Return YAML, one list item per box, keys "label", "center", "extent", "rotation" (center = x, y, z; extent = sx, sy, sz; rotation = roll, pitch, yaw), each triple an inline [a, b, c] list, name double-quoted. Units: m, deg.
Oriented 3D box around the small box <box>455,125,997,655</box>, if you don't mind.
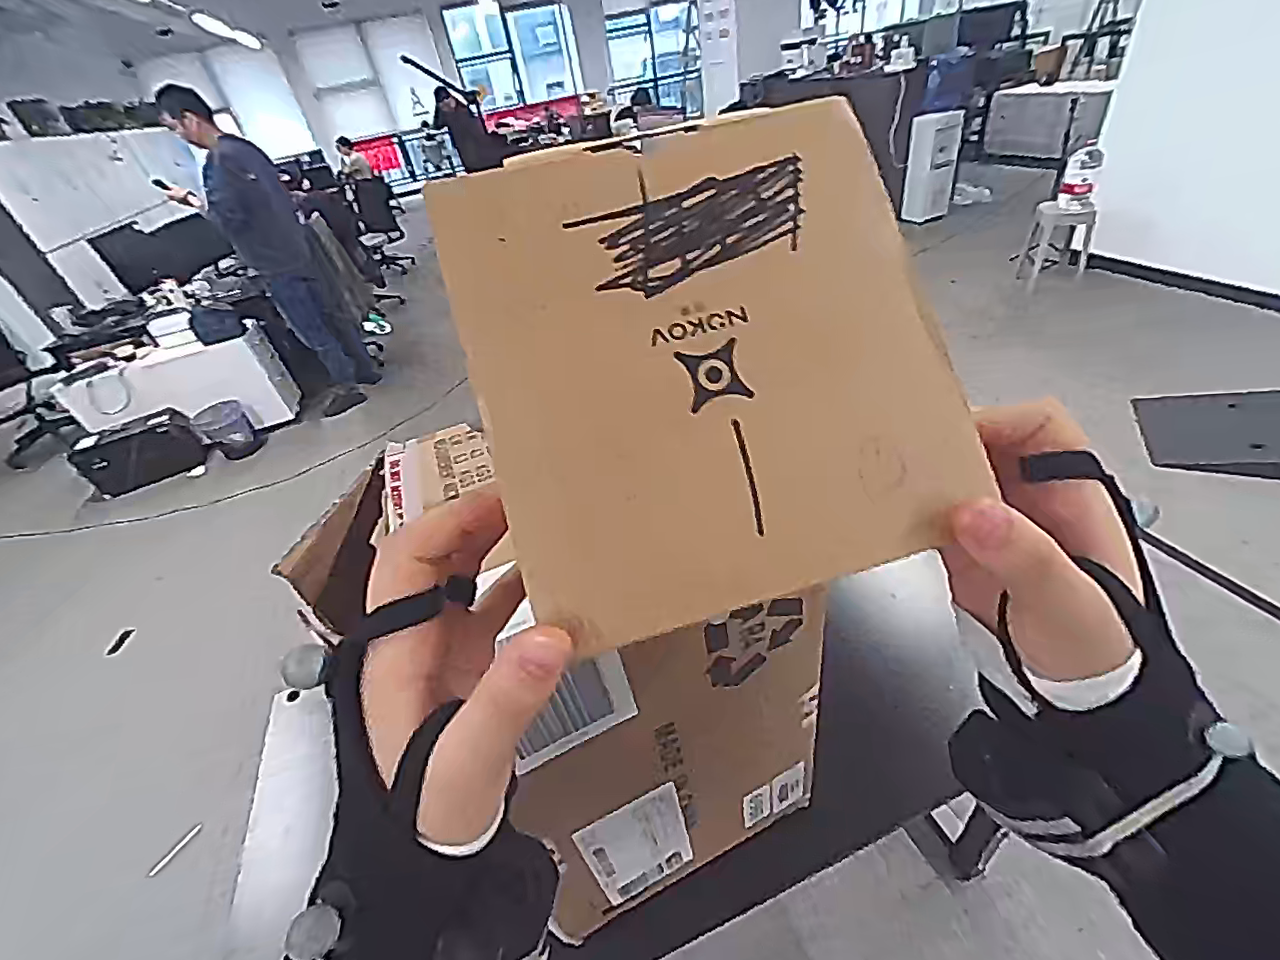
- label: "small box"
  center: [0.024, -0.029, 0.278]
  extent: [0.168, 0.176, 0.179]
  rotation: [-15, 82, -5]
